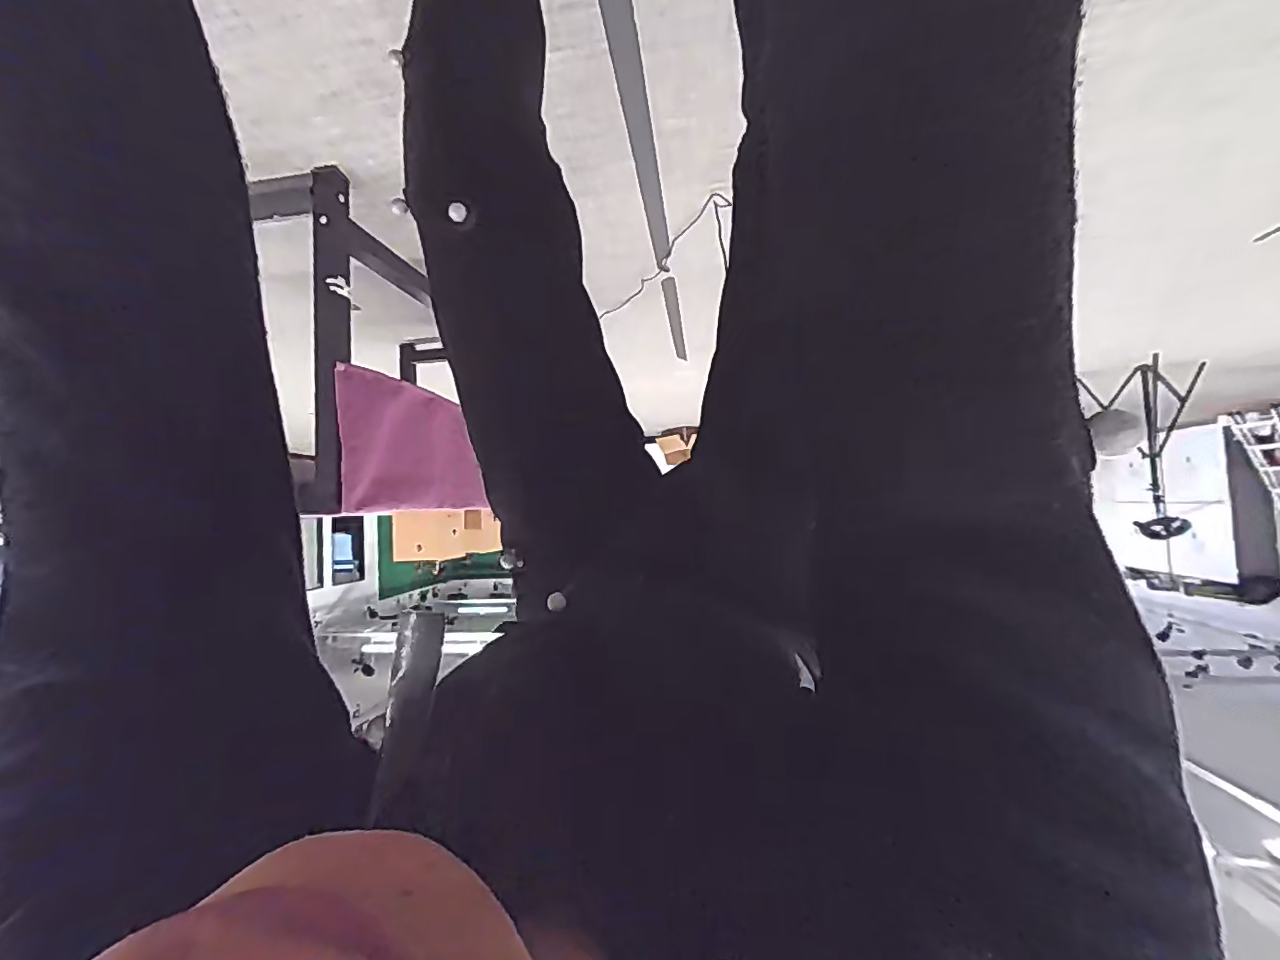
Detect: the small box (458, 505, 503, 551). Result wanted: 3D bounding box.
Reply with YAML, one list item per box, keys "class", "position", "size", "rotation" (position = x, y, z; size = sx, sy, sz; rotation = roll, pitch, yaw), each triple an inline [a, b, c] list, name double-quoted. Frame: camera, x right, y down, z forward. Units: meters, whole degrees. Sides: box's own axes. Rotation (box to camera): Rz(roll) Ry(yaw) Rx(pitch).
- class: "small box"
  position: [-0.655, 0.188, 2.132]
  size: [0.179, 0.176, 0.168]
  rotation: [-3, 178, 12]

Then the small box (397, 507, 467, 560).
- class: "small box"
  position: [-0.718, 0.178, 1.864]
  size: [0.179, 0.176, 0.168]
  rotation: [-3, 177, 10]
